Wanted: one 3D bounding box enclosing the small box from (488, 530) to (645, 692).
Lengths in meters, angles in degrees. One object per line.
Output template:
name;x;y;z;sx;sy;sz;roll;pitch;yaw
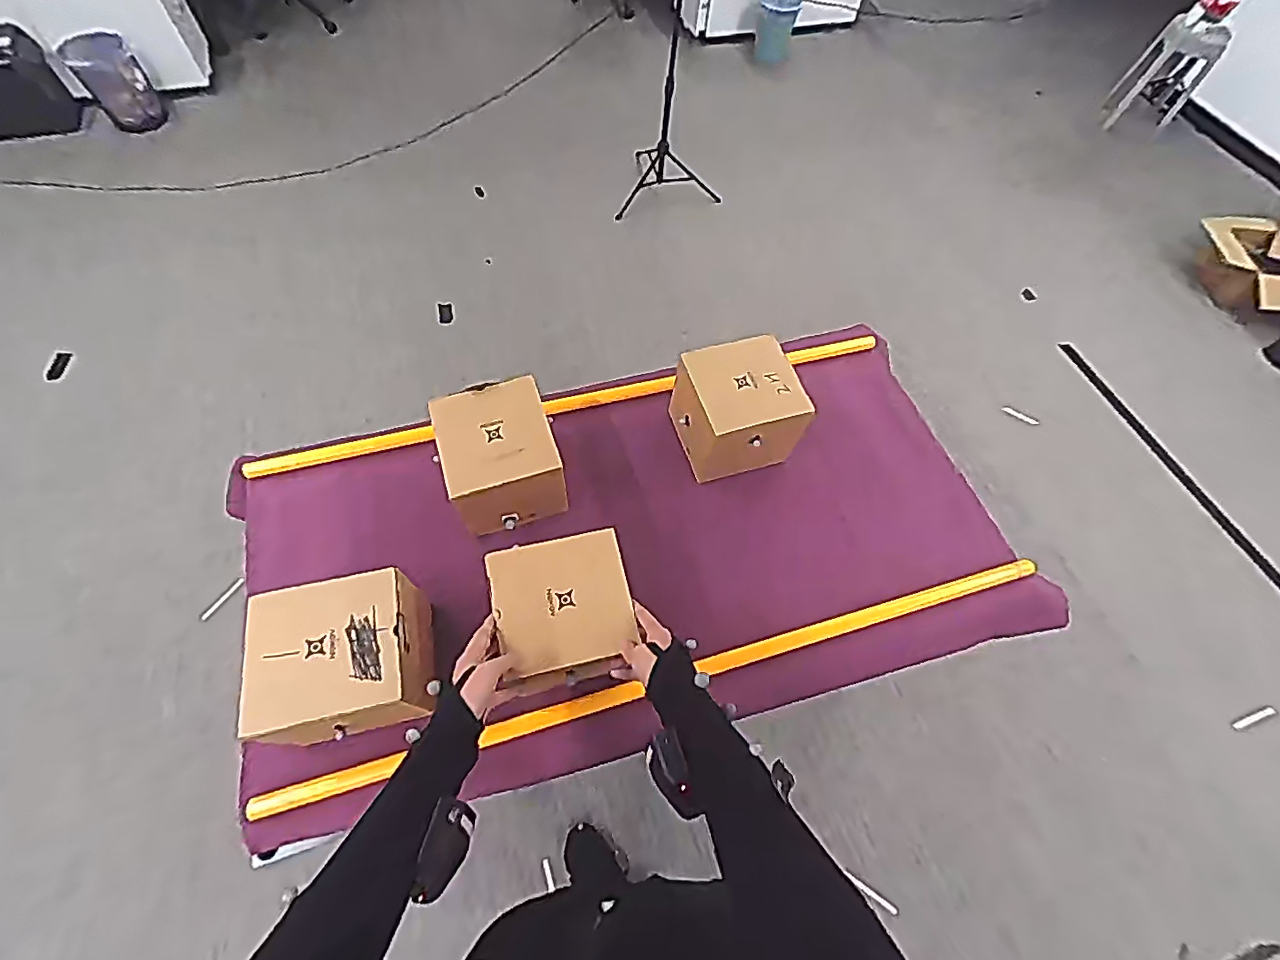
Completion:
small box;-0.102;0.188;0.757;0.179;0.176;0.168;-12;65;-9

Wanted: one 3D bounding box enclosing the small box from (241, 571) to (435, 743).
small box;-0.377;0.236;0.710;0.179;0.176;0.168;-10;63;-10

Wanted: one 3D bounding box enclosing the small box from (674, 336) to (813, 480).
small box;0.166;-0.119;0.941;0.179;0.176;0.168;-14;65;-11

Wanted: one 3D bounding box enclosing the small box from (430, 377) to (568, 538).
small box;-0.219;-0.032;0.868;0.168;0.176;0.179;-17;65;-12
